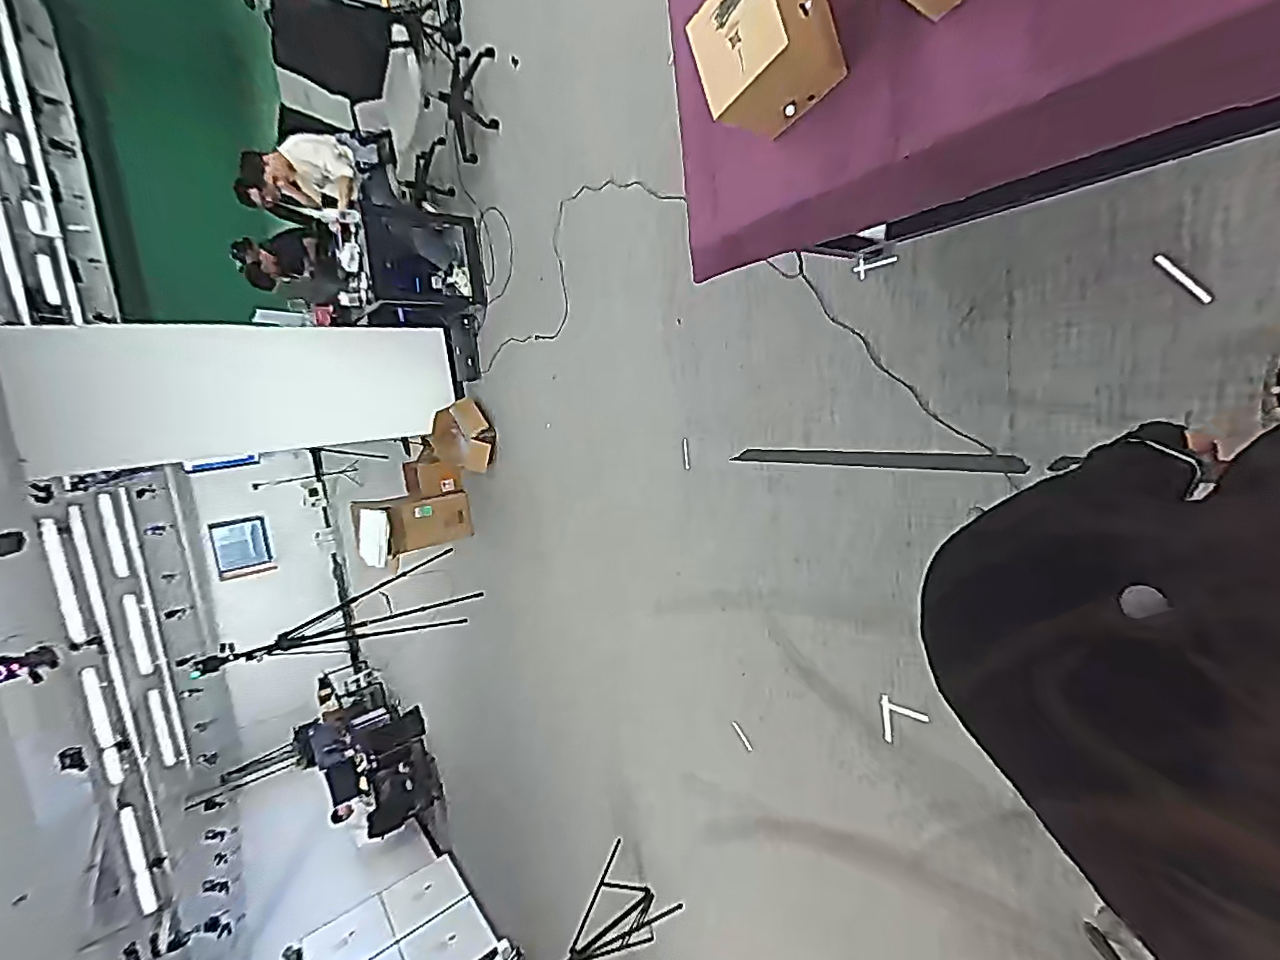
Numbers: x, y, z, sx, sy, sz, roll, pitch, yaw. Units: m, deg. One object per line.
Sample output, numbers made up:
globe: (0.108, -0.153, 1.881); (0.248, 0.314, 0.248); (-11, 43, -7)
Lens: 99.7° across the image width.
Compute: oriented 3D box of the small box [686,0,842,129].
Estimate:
small box: (0.210, -0.737, 0.912); (0.168, 0.176, 0.179); (-18, 87, 53)
